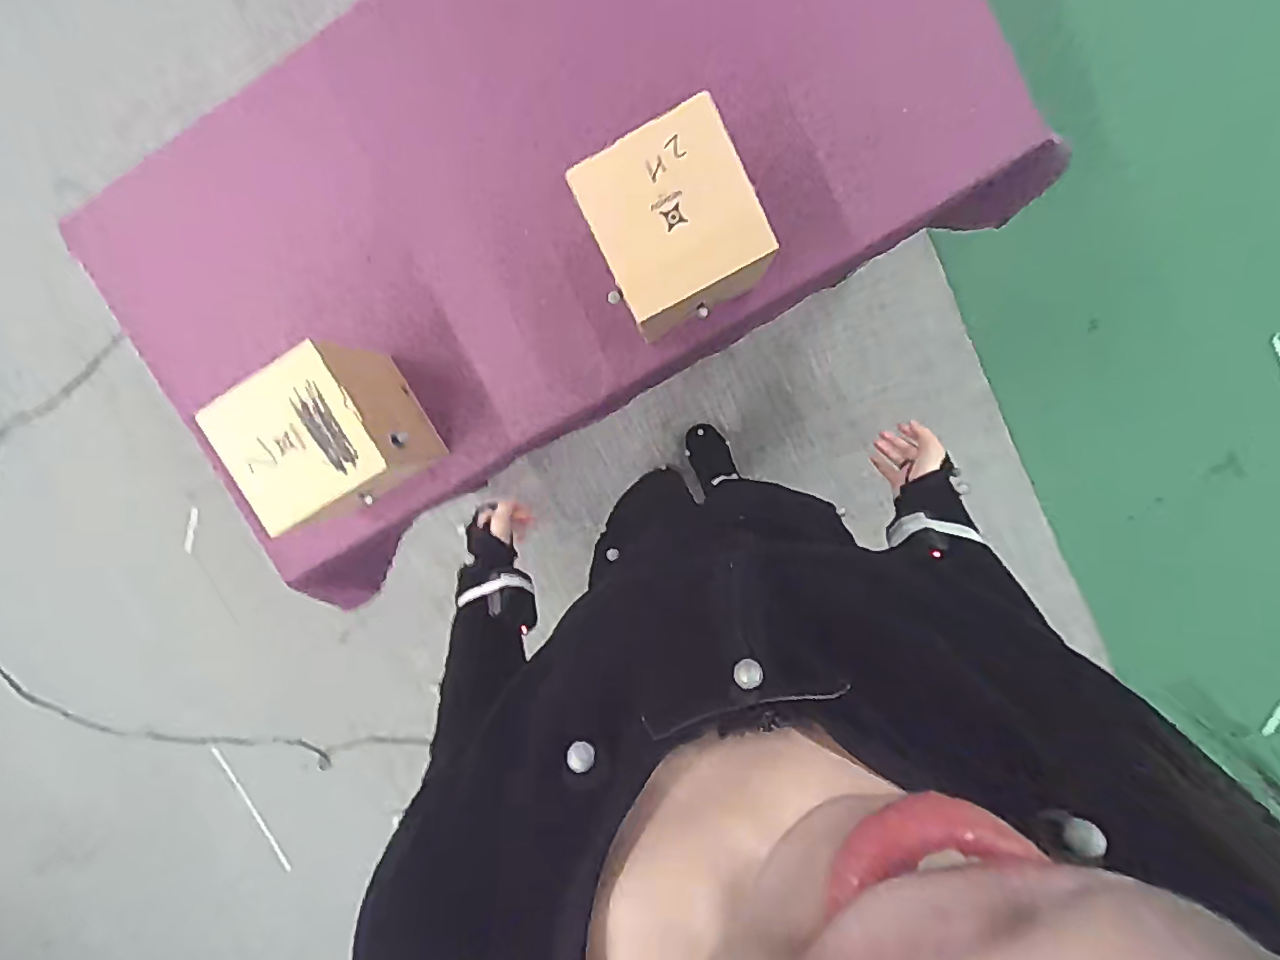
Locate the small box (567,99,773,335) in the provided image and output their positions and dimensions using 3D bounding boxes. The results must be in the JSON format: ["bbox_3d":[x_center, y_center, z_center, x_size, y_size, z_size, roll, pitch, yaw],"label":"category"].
[{"bbox_3d":[0.038,-0.286,0.642,0.168,0.176,0.179,-26,94,6],"label":"small box"}]
